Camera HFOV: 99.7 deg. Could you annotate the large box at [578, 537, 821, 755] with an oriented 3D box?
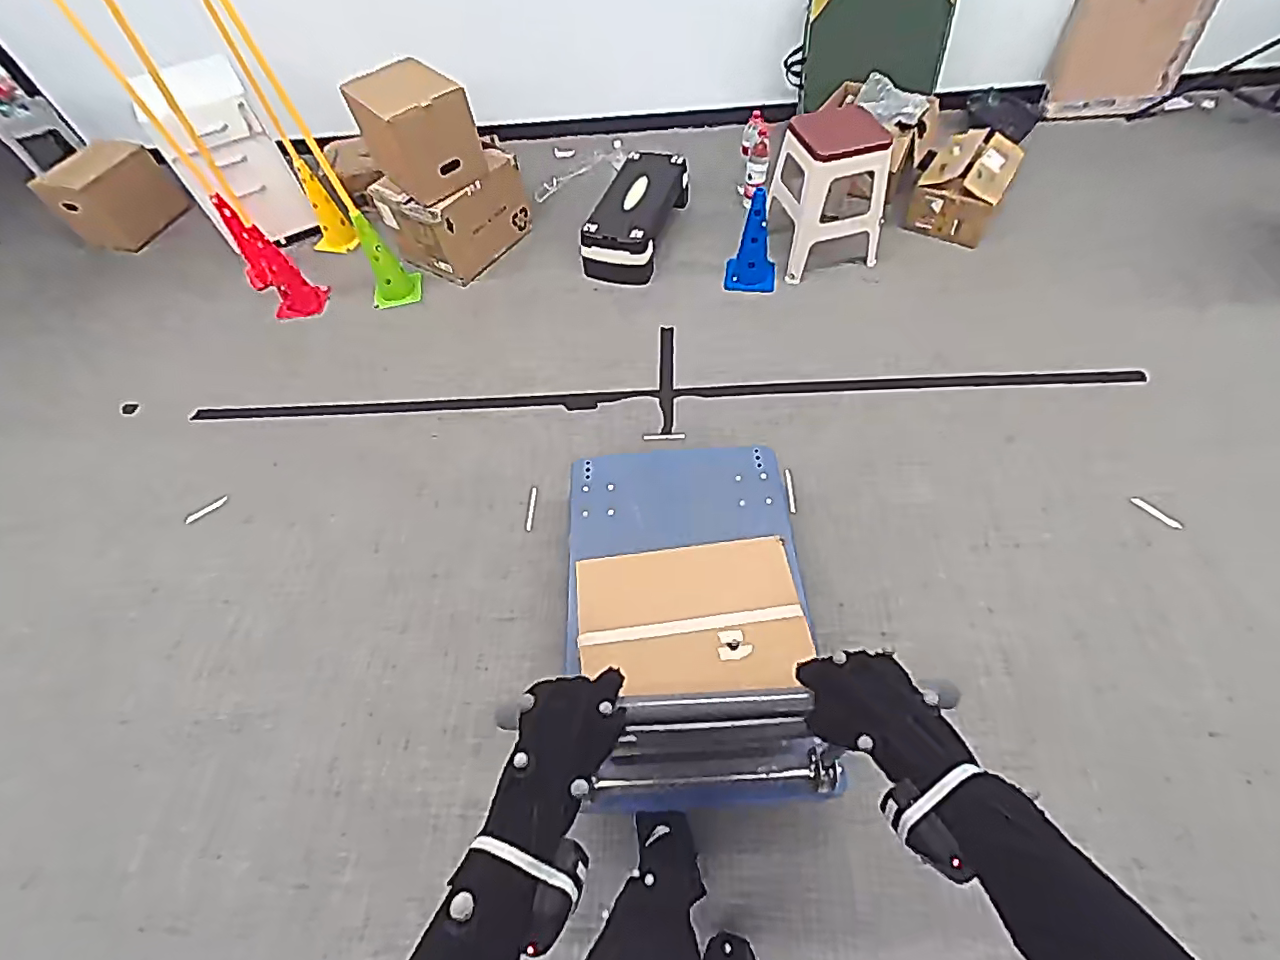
[{"bbox_3d":[0.099,0.349,1.112,0.408,0.320,0.320,-7,57,-2],"label":"large box"}]
